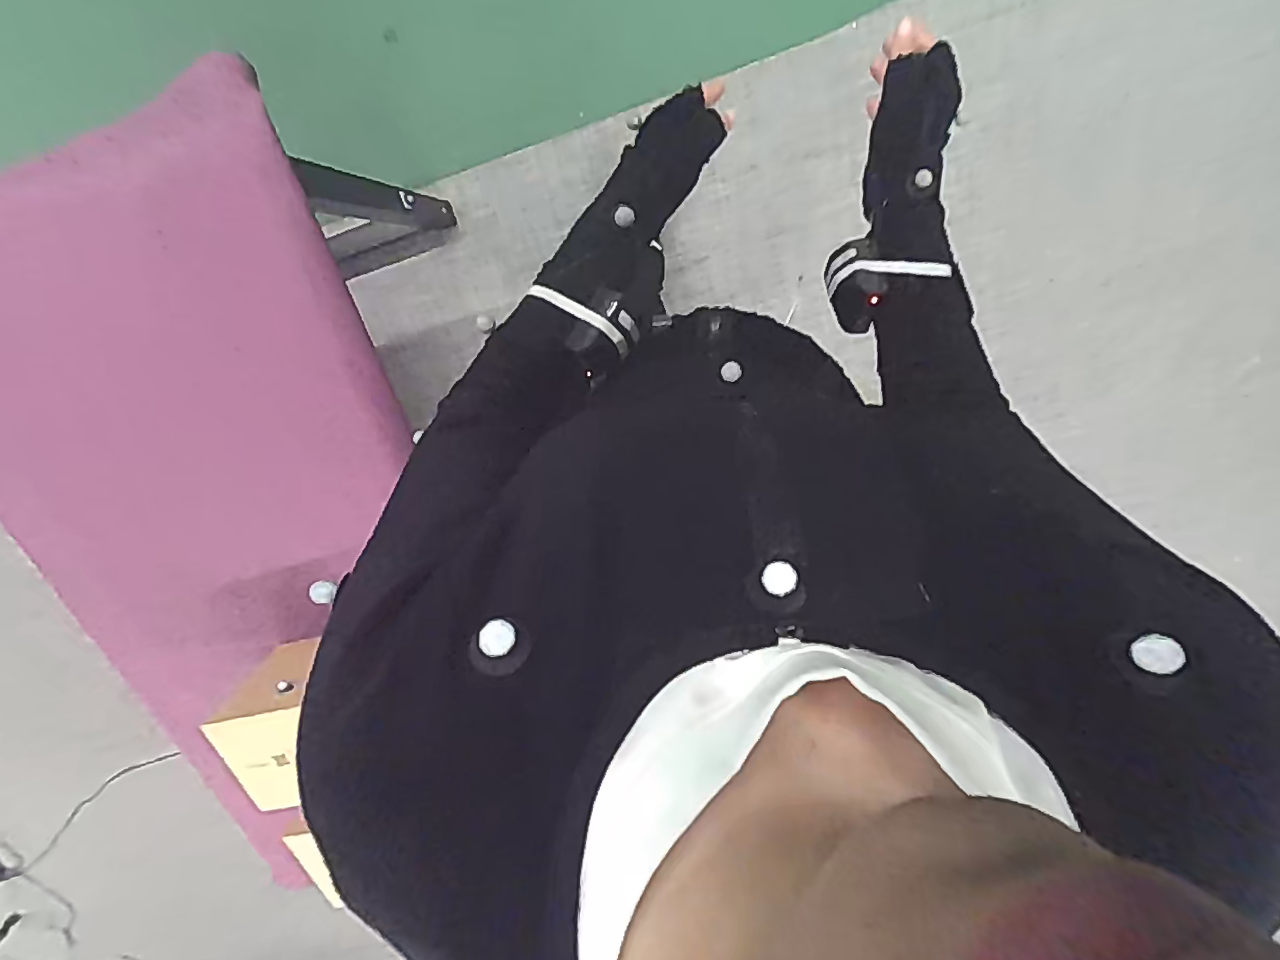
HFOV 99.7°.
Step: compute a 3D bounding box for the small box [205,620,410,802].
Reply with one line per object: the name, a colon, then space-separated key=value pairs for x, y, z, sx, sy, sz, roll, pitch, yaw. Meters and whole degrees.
small box: x=-0.471 y=0.334 z=0.806 sx=0.179 sy=0.176 sz=0.168 roll=-16 pitch=114 yaw=6
